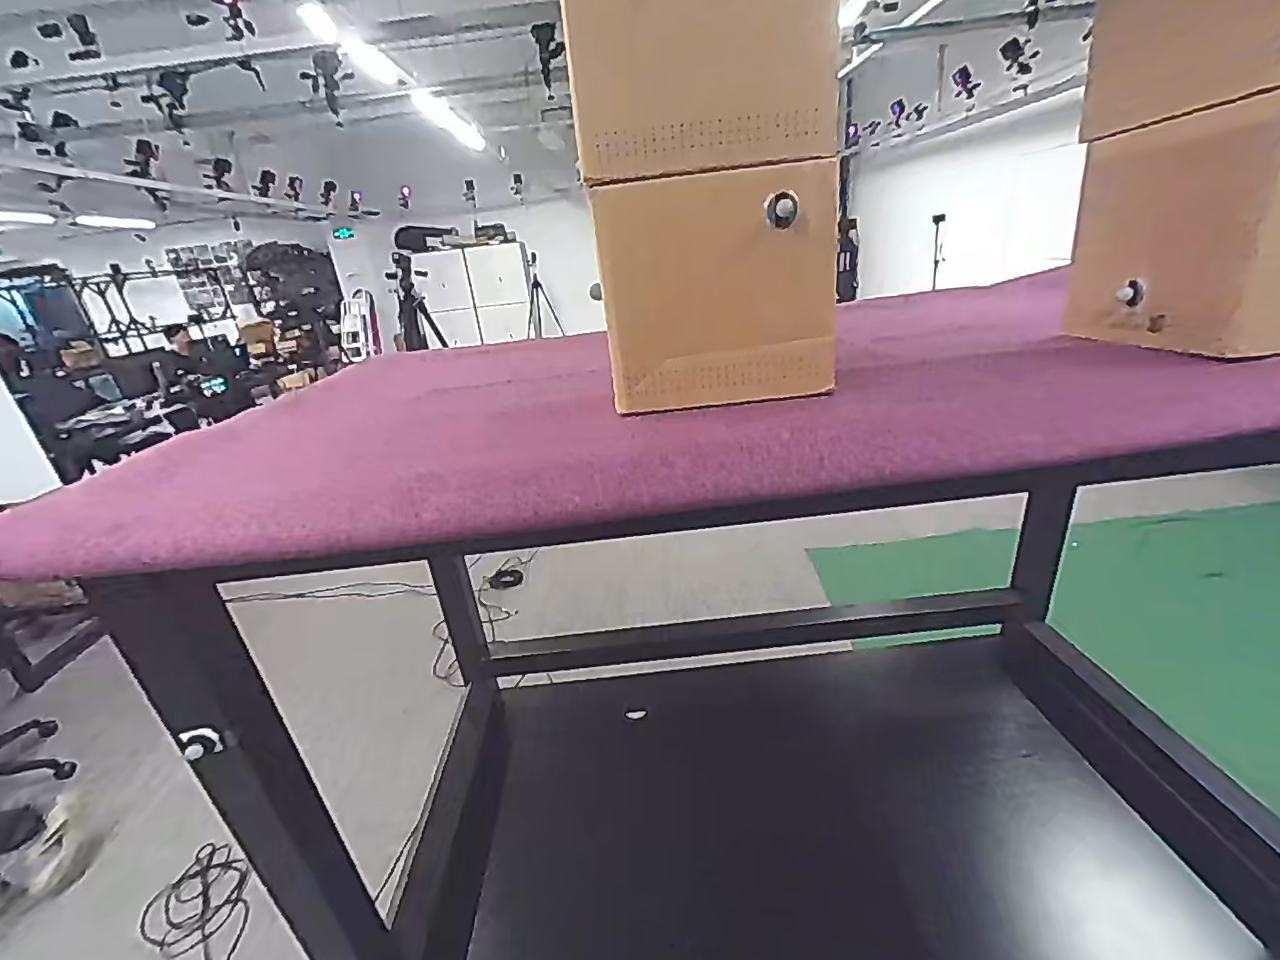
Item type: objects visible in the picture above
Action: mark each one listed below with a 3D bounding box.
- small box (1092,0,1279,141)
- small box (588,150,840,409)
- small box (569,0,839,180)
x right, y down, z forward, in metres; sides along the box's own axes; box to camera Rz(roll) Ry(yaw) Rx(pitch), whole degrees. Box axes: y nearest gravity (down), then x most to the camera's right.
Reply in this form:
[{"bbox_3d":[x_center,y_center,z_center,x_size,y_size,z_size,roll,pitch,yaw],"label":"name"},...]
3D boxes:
[{"bbox_3d":[0.457,-0.350,0.360,0.168,0.176,0.179,-7,21,3],"label":"small box"},{"bbox_3d":[0.059,-0.163,0.466,0.179,0.176,0.168,-5,22,2],"label":"small box"},{"bbox_3d":[0.042,-0.316,0.409,0.179,0.176,0.168,-5,22,2],"label":"small box"}]
